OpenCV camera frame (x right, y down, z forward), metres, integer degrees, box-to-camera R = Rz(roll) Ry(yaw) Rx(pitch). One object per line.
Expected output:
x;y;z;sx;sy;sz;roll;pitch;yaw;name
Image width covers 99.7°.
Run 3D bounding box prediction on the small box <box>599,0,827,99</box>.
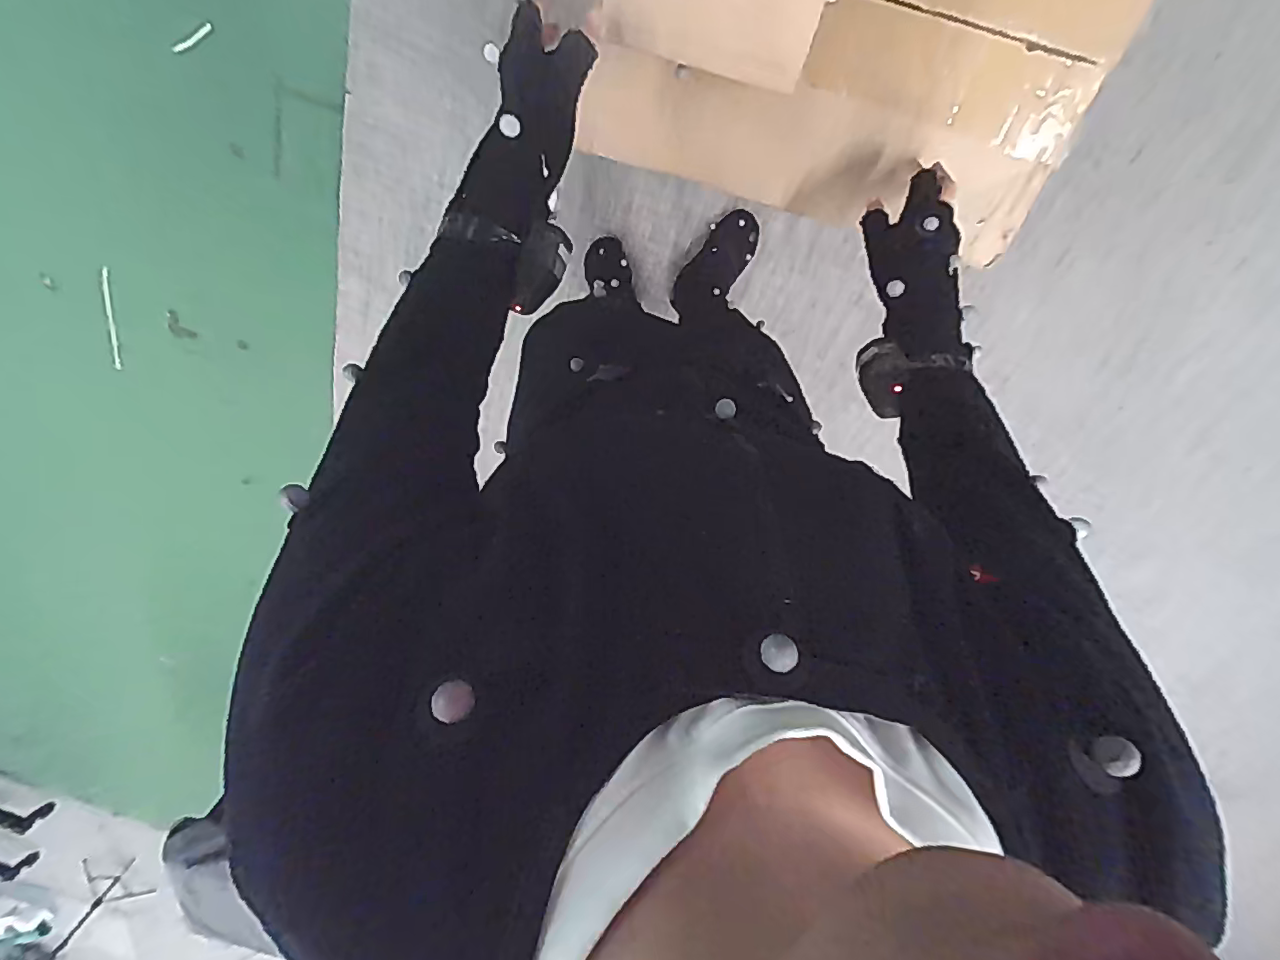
0.079;-0.456;0.468;0.179;0.176;0.168;16;131;-1;small box
